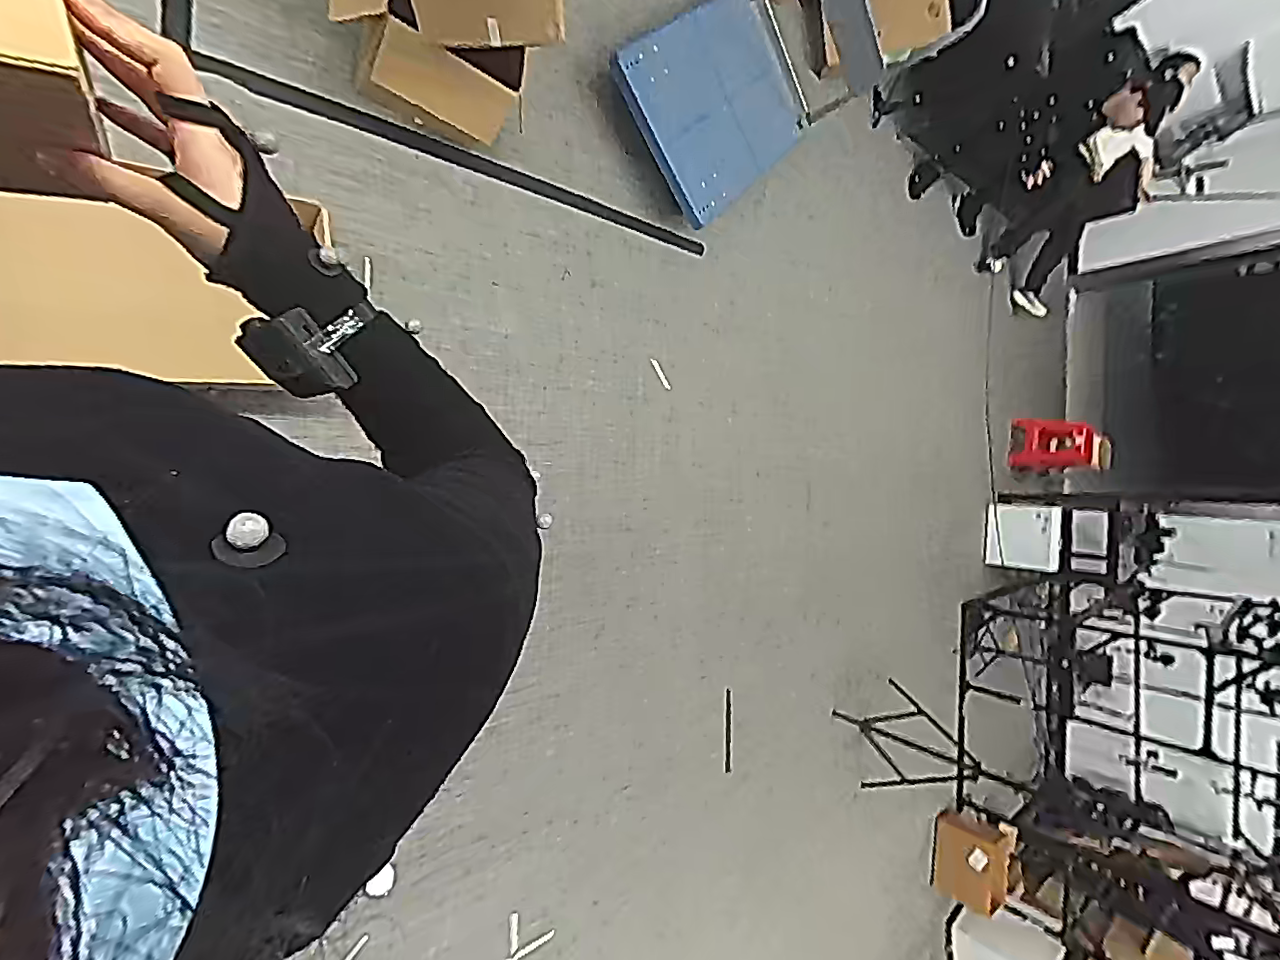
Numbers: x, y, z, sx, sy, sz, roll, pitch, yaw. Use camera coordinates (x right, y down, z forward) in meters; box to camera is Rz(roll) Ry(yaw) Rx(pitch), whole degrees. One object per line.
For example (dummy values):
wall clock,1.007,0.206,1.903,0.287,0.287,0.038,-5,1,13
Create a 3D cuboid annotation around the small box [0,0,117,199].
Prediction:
small box,-0.363,-0.249,0.233,0.168,0.176,0.179,-15,104,-38
